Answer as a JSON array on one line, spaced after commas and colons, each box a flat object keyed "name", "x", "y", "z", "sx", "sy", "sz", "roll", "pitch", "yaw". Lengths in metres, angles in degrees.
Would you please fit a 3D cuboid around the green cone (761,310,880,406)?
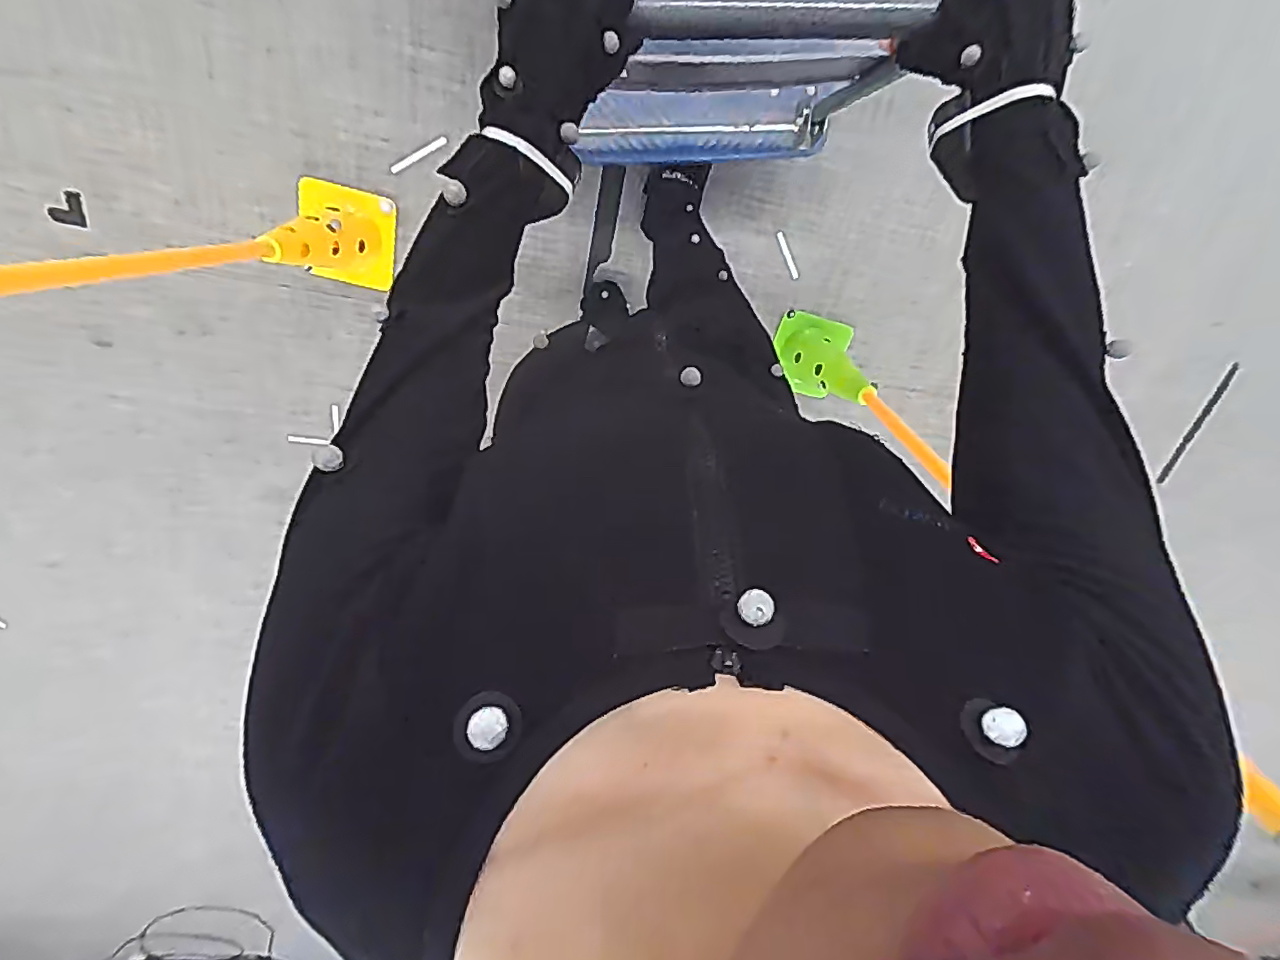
[{"name": "green cone", "x": 0.452, "y": -0.249, "z": 1.269, "sx": 0.202, "sy": 0.368, "sz": 0.200, "roll": 11, "pitch": 116, "yaw": -12}]
